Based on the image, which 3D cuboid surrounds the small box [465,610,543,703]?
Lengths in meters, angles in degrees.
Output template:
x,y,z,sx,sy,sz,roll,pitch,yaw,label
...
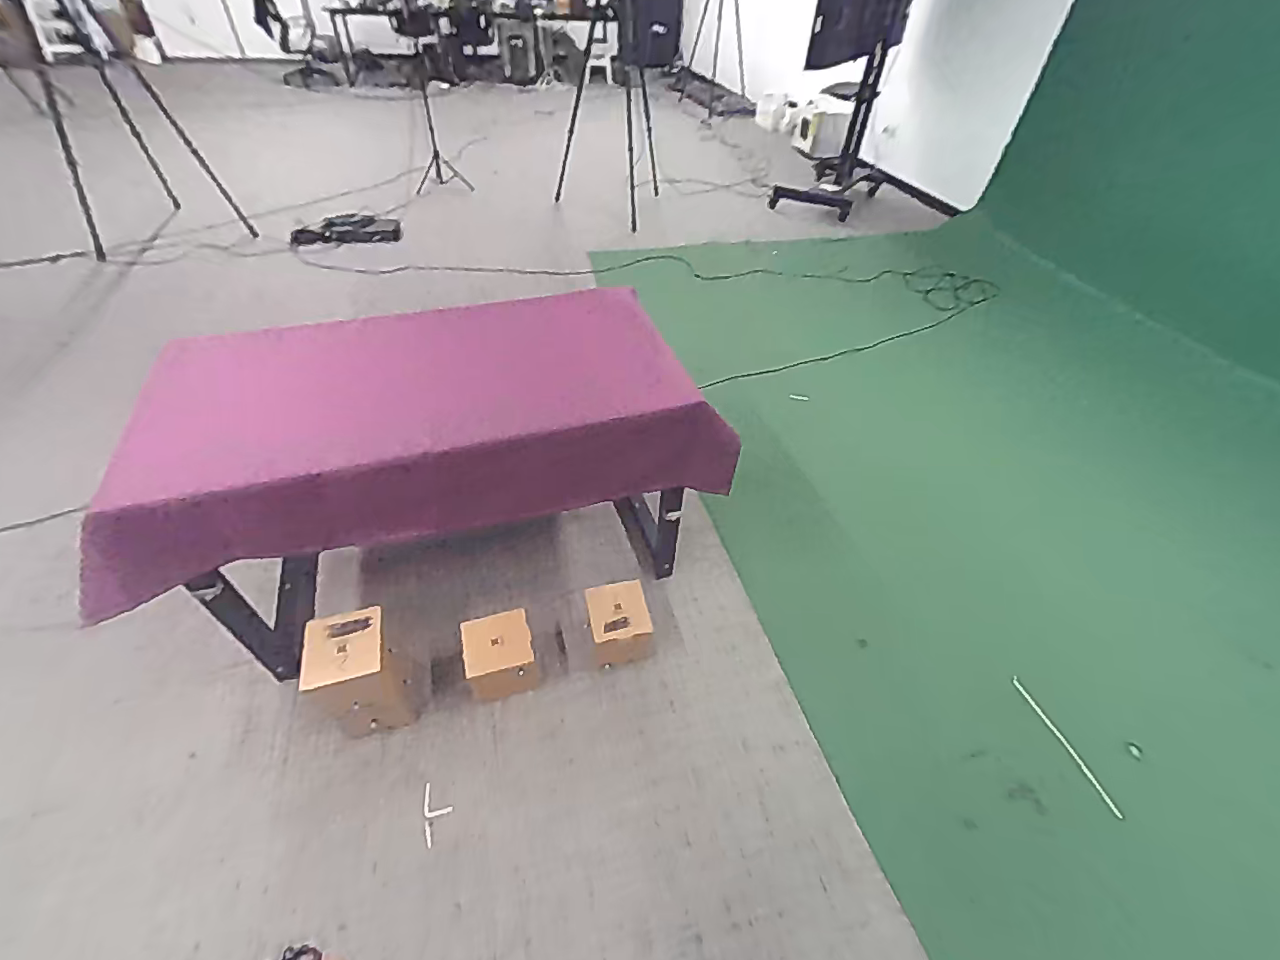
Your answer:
x,y,z,sx,sy,sz,roll,pitch,yaw,label
-0.376,0.494,1.500,0.179,0.176,0.168,-12,47,-14,small box
